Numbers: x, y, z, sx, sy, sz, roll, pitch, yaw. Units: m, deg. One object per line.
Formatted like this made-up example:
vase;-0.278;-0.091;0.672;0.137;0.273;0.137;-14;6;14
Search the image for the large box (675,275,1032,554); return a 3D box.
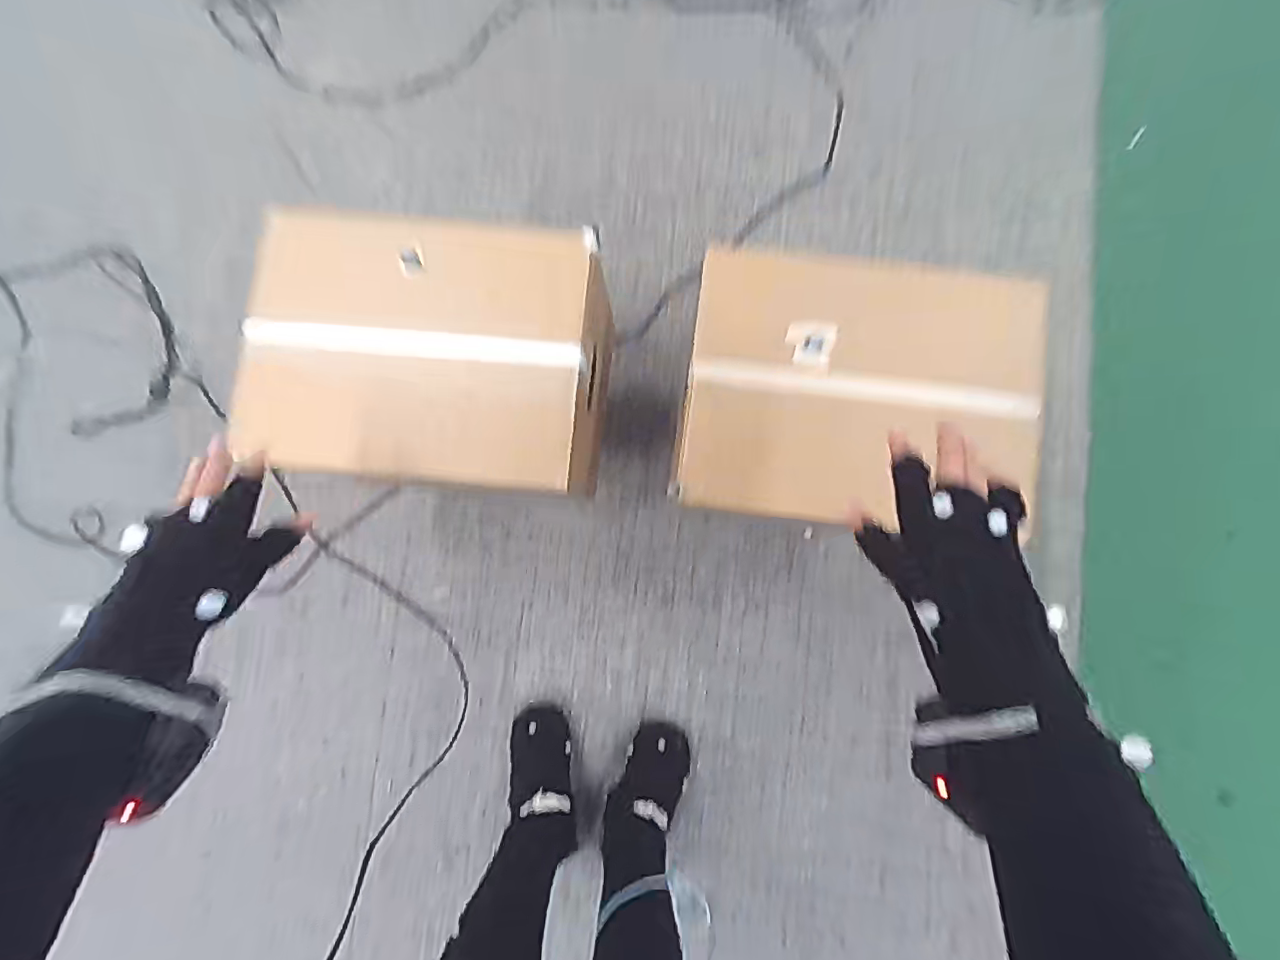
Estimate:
large box;0.273;-0.074;0.808;0.408;0.320;0.320;8;84;3
